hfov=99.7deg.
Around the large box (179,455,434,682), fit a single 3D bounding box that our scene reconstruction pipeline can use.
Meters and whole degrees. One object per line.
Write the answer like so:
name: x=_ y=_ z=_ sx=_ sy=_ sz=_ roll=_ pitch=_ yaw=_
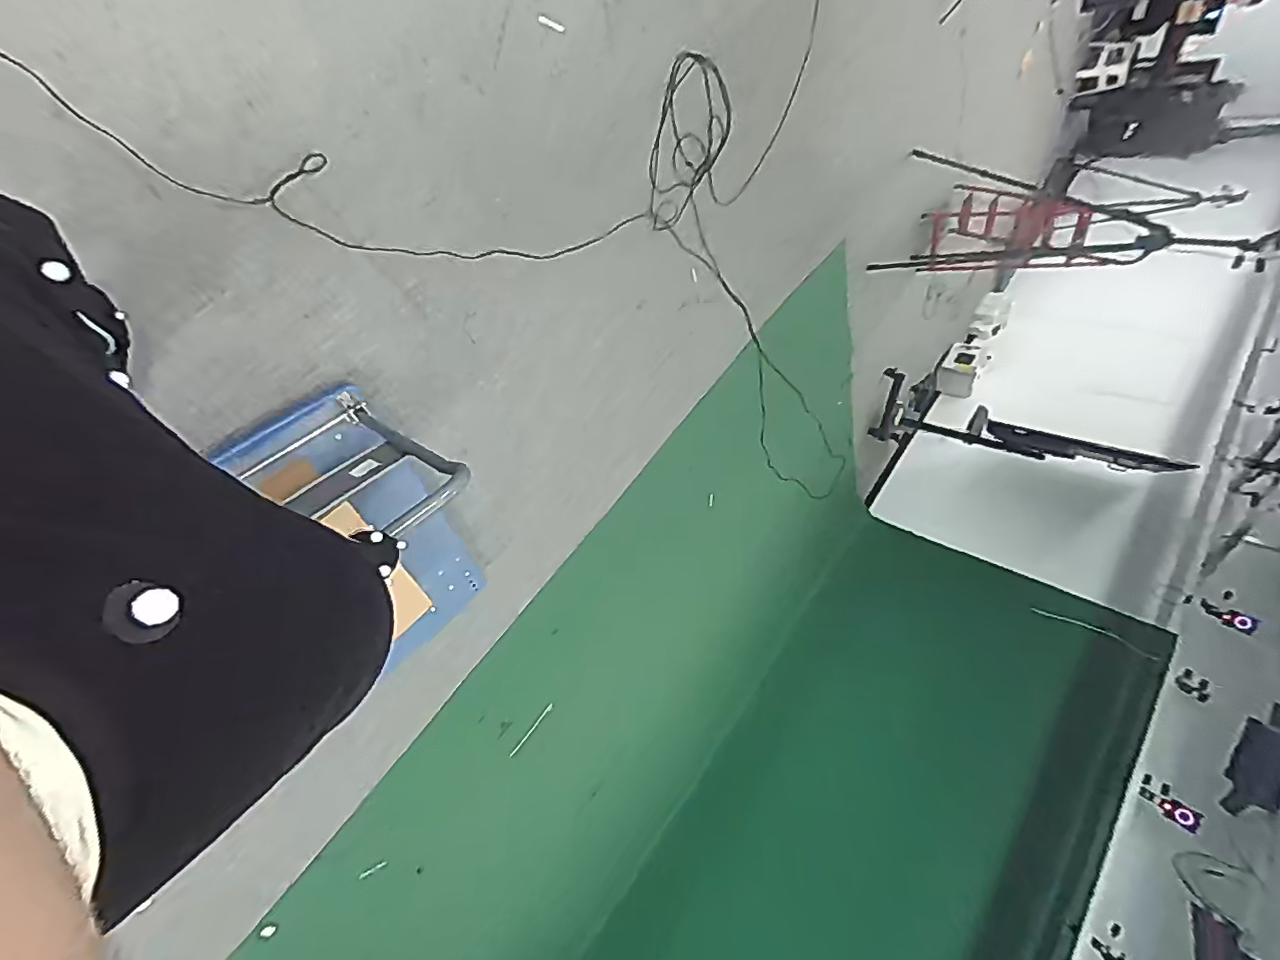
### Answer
large box: x=-0.802 y=0.211 z=1.335 sx=0.320 sy=0.320 sz=0.408 roll=-43 pitch=138 yaw=-26
